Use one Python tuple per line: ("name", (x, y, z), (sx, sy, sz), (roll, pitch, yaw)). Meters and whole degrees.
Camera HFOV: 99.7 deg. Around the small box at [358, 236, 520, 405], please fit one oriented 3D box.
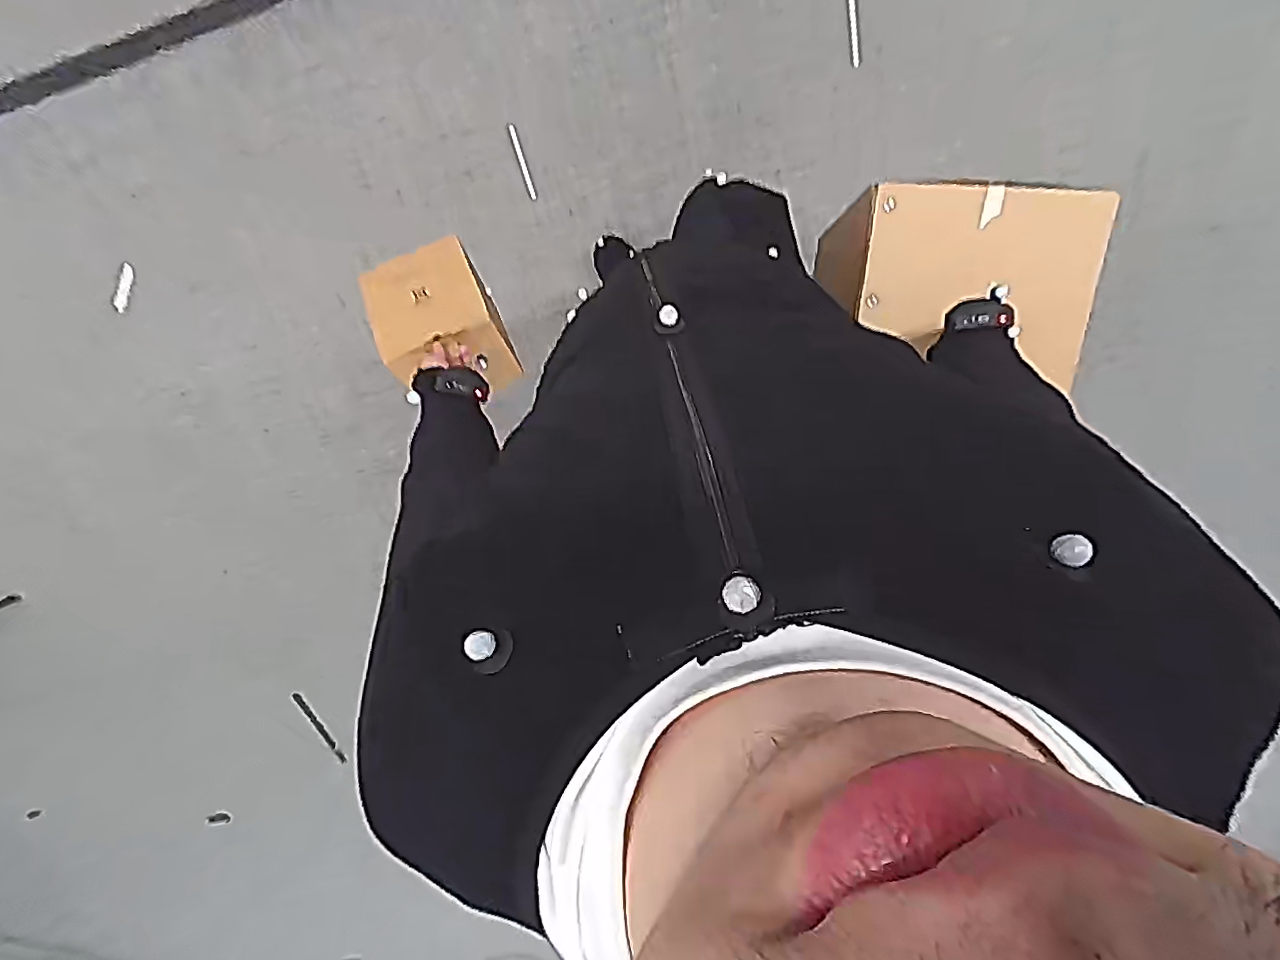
("small box", (-0.313, -0.243, 0.872), (0.168, 0.179, 0.176), (-25, 159, -4))
